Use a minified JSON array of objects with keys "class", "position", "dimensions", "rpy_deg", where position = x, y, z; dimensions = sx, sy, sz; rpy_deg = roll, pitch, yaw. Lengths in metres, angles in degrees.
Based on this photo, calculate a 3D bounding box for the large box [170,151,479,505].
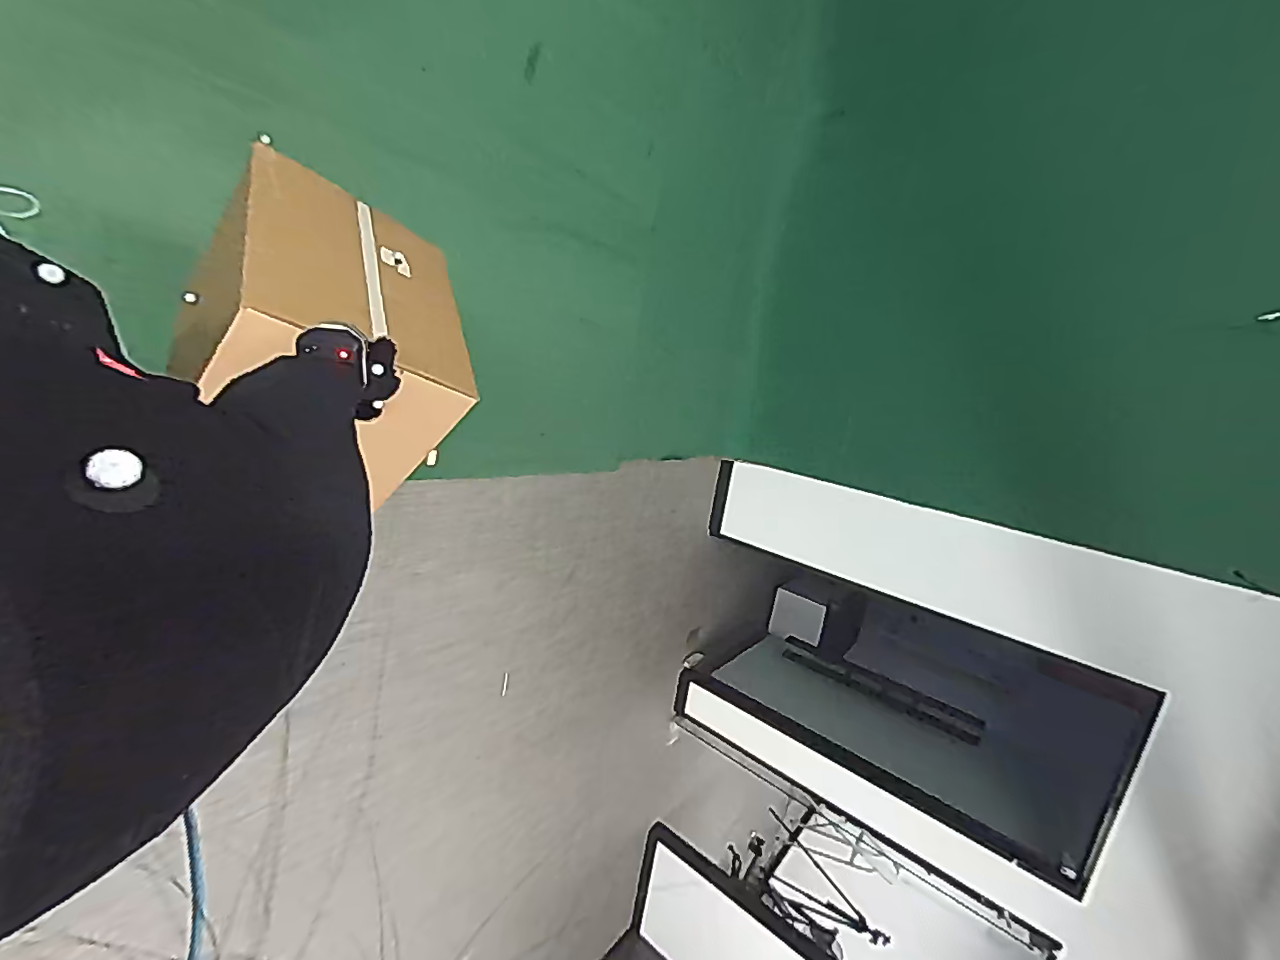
[{"class":"large box","position":[-0.515,-0.221,0.884],"dimensions":[0.320,0.408,0.320],"rpy_deg":[-40,145,23]}]
